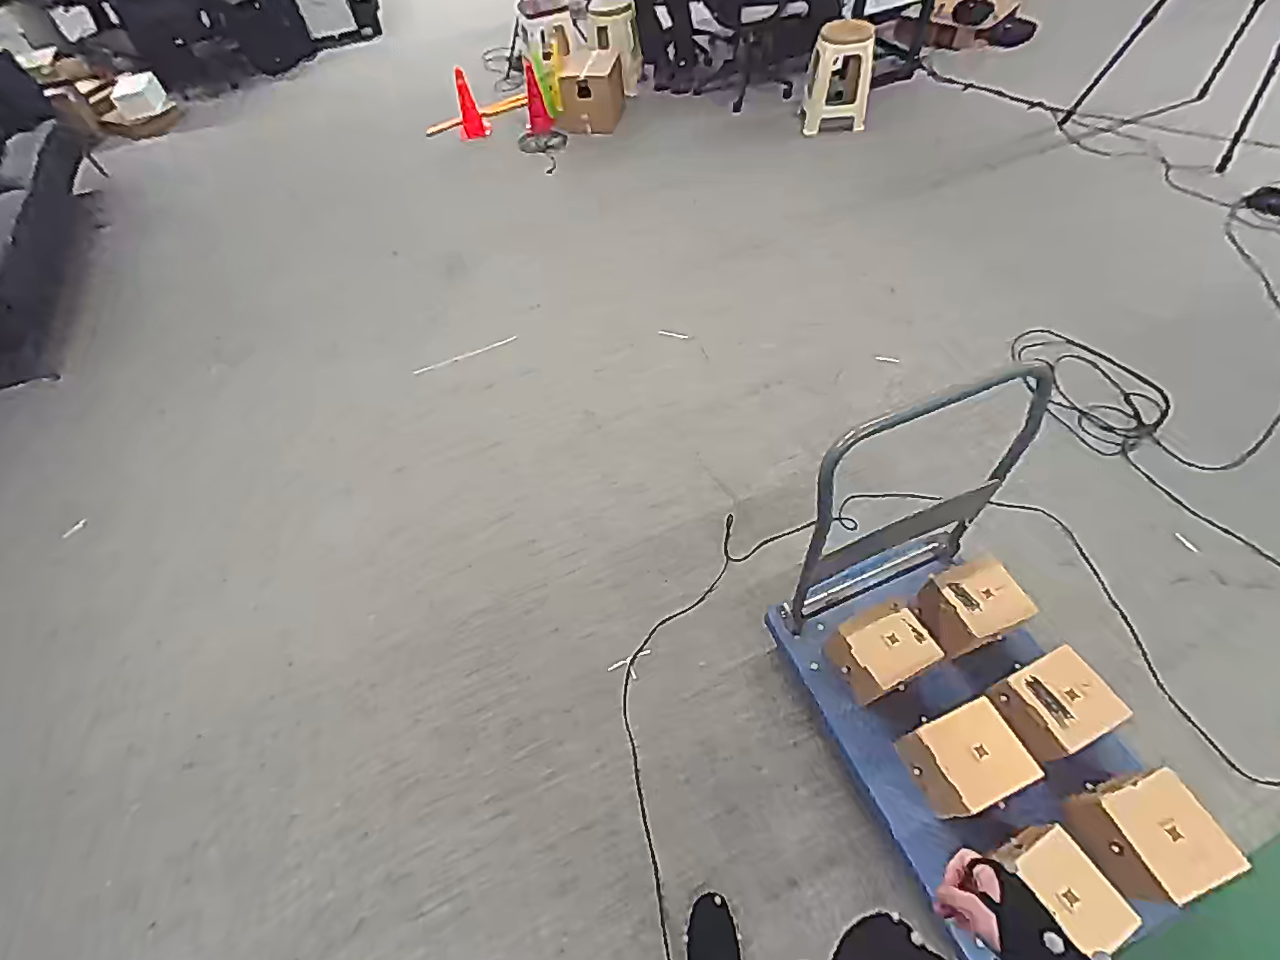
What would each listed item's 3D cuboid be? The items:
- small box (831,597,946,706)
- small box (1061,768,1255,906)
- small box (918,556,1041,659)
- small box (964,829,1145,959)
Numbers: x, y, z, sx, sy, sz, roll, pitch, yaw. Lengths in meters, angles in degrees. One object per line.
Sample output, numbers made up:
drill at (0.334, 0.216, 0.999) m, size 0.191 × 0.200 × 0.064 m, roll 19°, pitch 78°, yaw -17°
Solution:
small box at (0.576, 0.413, 1.288) m, size 0.179 × 0.176 × 0.168 m, roll -23°, pitch 57°, yaw -10°
small box at (0.989, 0.696, 1.056) m, size 0.168 × 0.176 × 0.179 m, roll -19°, pitch 55°, yaw -7°
small box at (0.818, 0.319, 1.331) m, size 0.179 × 0.176 × 0.168 m, roll -19°, pitch 56°, yaw -8°
small box at (0.757, 0.784, 1.012) m, size 0.179 × 0.176 × 0.168 m, roll -22°, pitch 54°, yaw -8°
